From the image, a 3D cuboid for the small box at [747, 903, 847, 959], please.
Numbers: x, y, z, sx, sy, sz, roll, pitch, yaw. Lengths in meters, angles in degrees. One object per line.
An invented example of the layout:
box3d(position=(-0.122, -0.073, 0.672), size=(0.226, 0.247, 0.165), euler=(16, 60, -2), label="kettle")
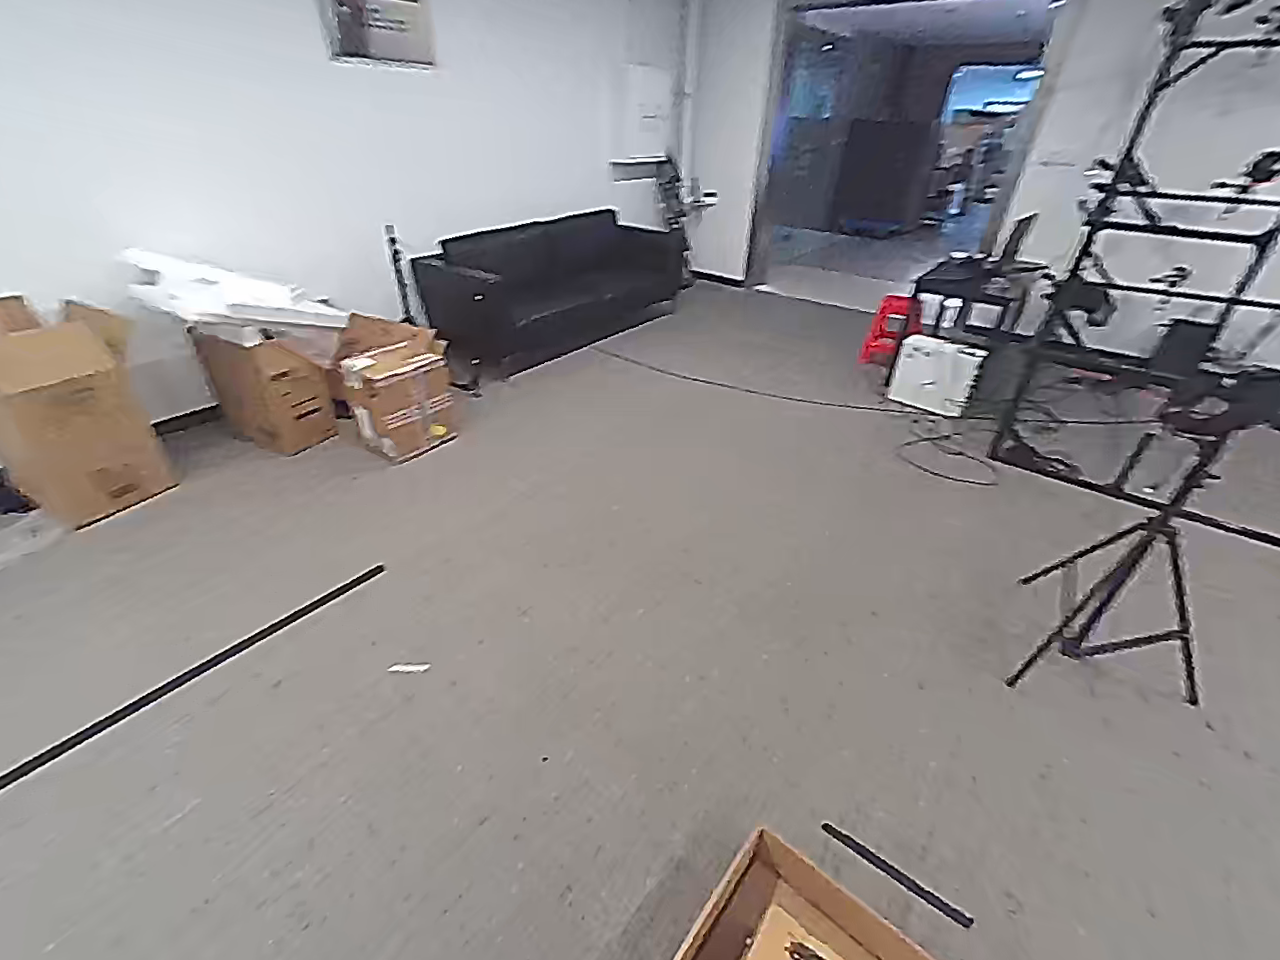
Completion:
box3d(position=(0.289, 1.006, 1.068), size=(0.168, 0.176, 0.179), euler=(25, 40, 29), label="small box")
